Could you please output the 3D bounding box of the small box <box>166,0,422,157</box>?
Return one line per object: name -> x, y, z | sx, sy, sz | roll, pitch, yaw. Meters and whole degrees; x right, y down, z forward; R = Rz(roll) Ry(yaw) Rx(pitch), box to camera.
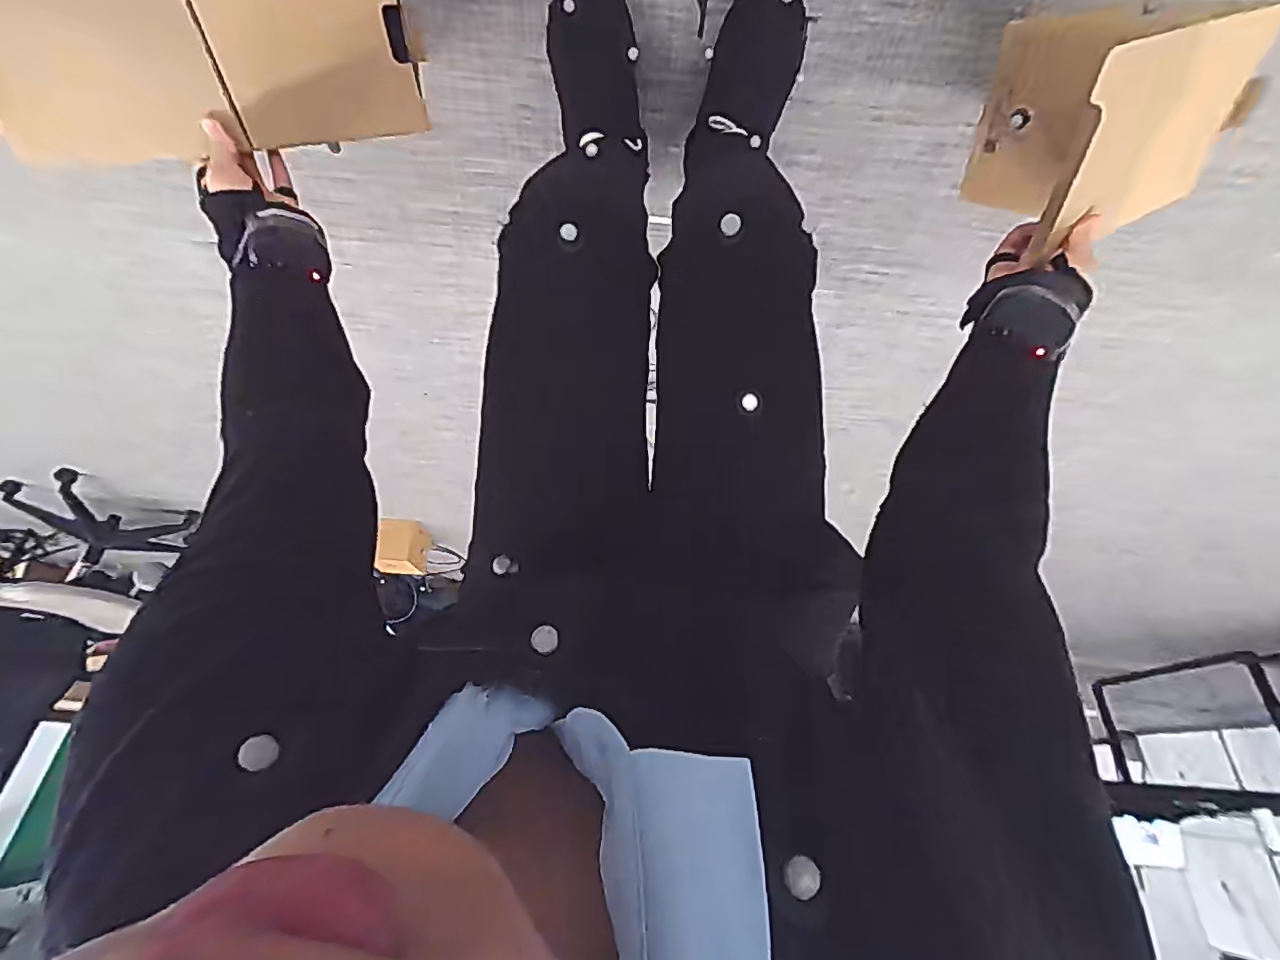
small box -> -0.347, -0.440, 0.545 | 0.179, 0.176, 0.168 | -23, 135, -21
